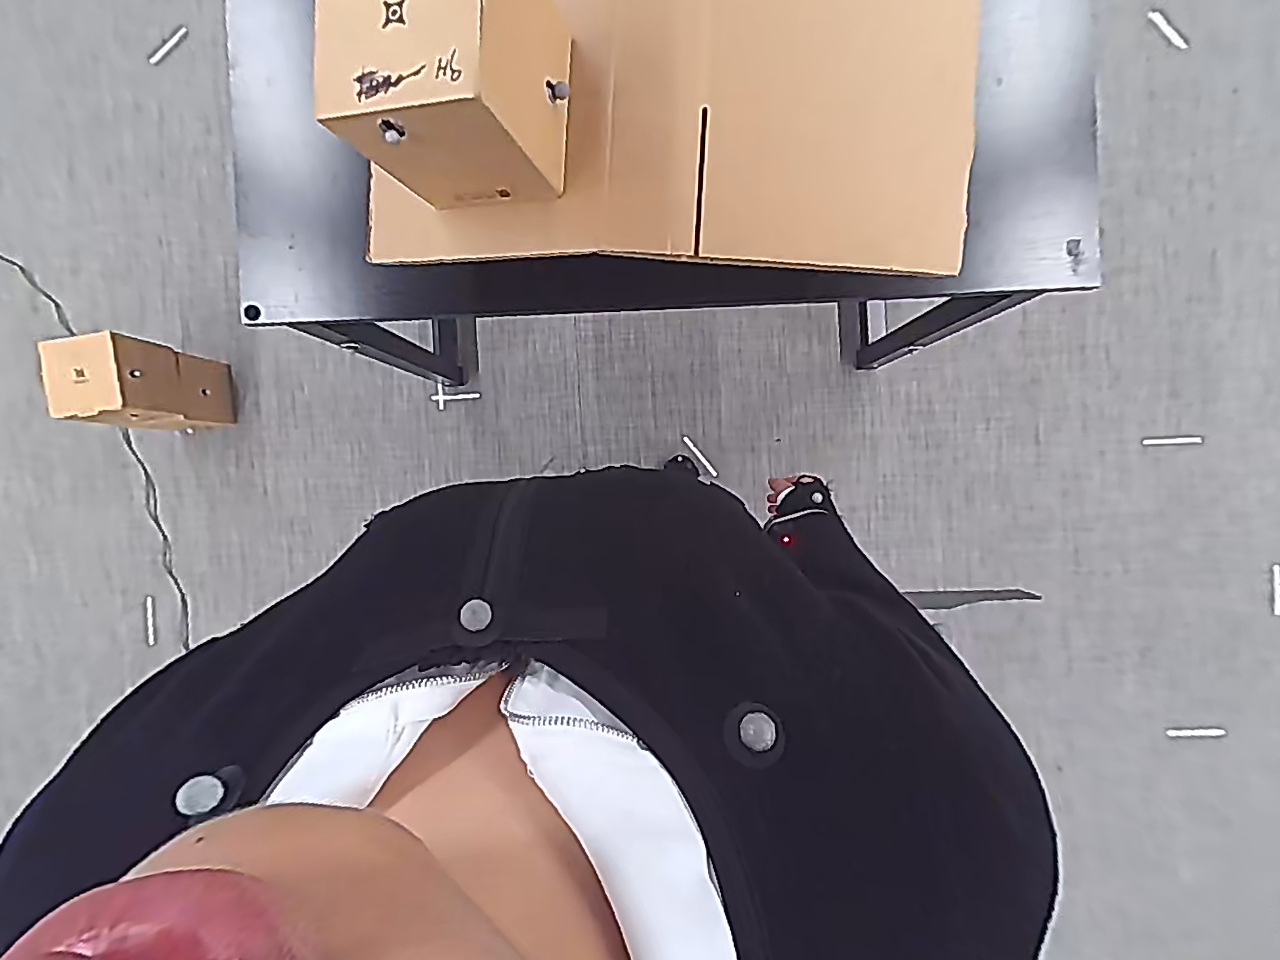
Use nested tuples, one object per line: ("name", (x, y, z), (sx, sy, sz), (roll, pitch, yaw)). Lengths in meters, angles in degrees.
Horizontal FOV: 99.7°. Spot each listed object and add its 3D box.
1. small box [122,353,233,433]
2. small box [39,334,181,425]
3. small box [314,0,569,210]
("small box", (-1.228, -0.225, 1.434), (0.168, 0.176, 0.179), (-6, 92, 1))
("small box", (-1.233, -0.227, 1.271), (0.168, 0.176, 0.179), (-9, 90, 1))
("small box", (-0.178, -0.393, 0.526), (0.168, 0.176, 0.179), (4, 91, 16))
